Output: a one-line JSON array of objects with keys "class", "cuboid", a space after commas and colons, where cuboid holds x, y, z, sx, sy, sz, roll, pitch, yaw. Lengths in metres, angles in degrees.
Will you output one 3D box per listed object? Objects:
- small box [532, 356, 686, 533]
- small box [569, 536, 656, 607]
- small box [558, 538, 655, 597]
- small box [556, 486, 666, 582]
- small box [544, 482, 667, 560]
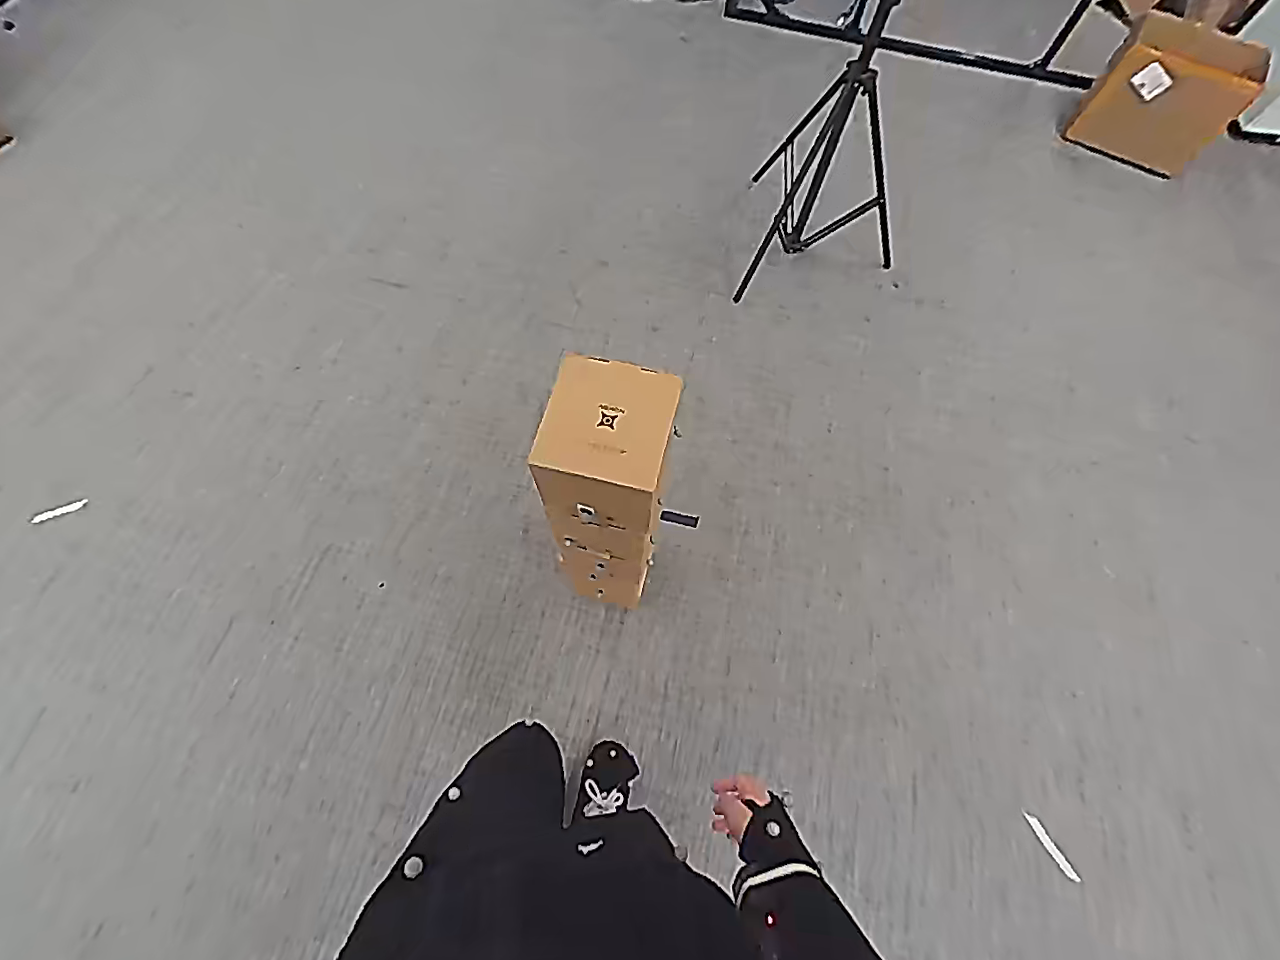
[{"class": "small box", "cuboid": [-0.039, -0.043, 0.768, 0.168, 0.176, 0.179, 13, 68, 4]}, {"class": "small box", "cuboid": [-0.066, 0.215, 1.368, 0.179, 0.176, 0.168, 14, 67, 4]}, {"class": "small box", "cuboid": [-0.068, 0.152, 1.216, 0.179, 0.176, 0.168, 16, 68, 5]}, {"class": "small box", "cuboid": [-0.052, 0.087, 1.067, 0.168, 0.176, 0.179, 16, 68, 4]}, {"class": "small box", "cuboid": [-0.048, 0.020, 0.917, 0.168, 0.176, 0.179, 15, 66, 4]}]
